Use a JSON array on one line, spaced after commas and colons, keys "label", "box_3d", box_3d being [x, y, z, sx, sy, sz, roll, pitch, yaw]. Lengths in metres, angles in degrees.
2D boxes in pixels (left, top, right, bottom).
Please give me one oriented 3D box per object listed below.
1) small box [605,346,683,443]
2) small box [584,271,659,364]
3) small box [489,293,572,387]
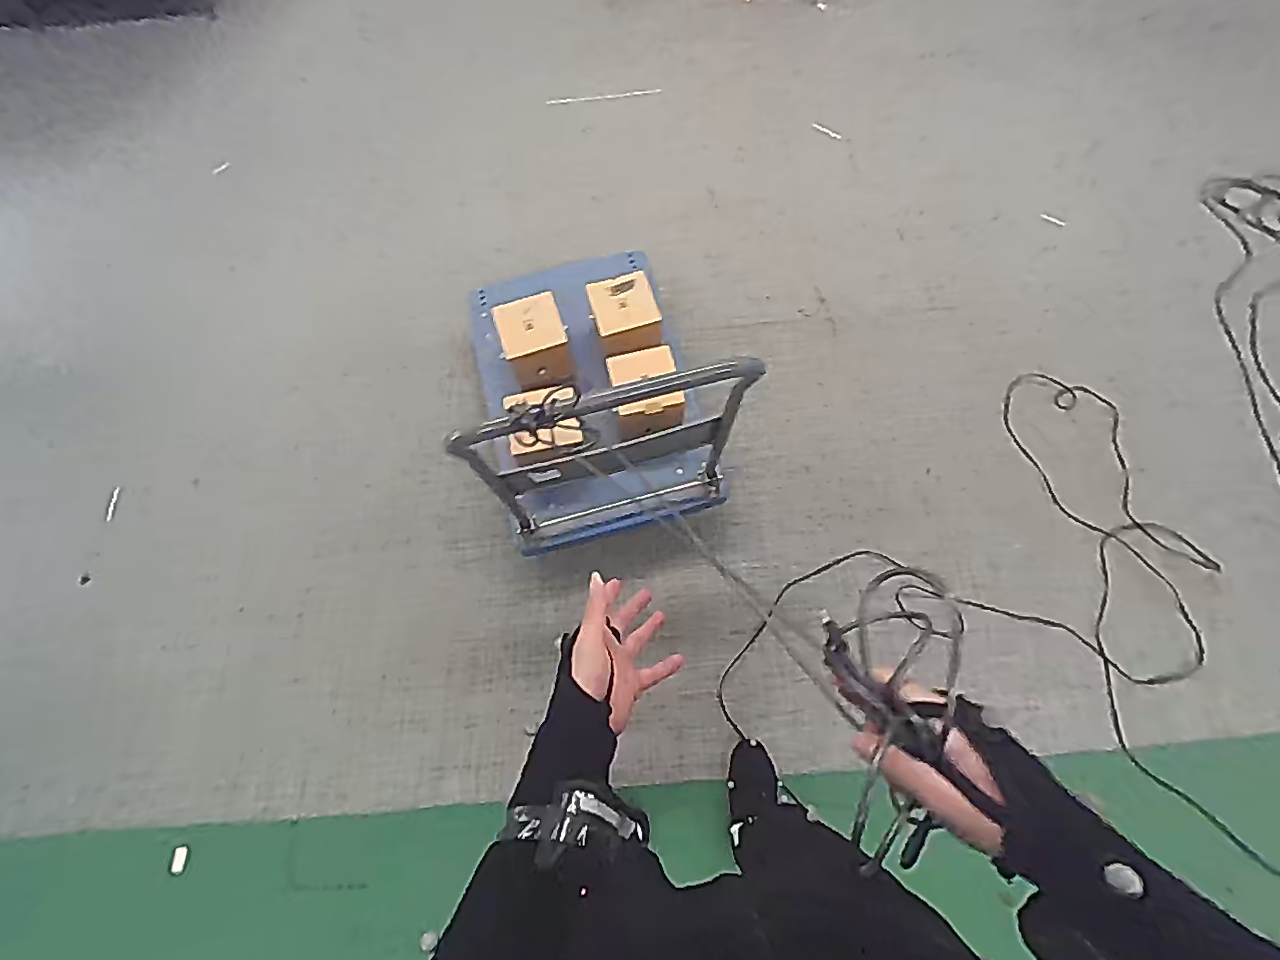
[{"label": "small box", "box_3d": [0.010, -0.222, 1.427, 0.168, 0.176, 0.179, -14, 70, -3]}, {"label": "small box", "box_3d": [-0.050, -0.444, 1.511, 0.168, 0.176, 0.179, -17, 71, -3]}, {"label": "small box", "box_3d": [-0.297, -0.377, 1.497, 0.168, 0.176, 0.179, -18, 70, -5]}]
